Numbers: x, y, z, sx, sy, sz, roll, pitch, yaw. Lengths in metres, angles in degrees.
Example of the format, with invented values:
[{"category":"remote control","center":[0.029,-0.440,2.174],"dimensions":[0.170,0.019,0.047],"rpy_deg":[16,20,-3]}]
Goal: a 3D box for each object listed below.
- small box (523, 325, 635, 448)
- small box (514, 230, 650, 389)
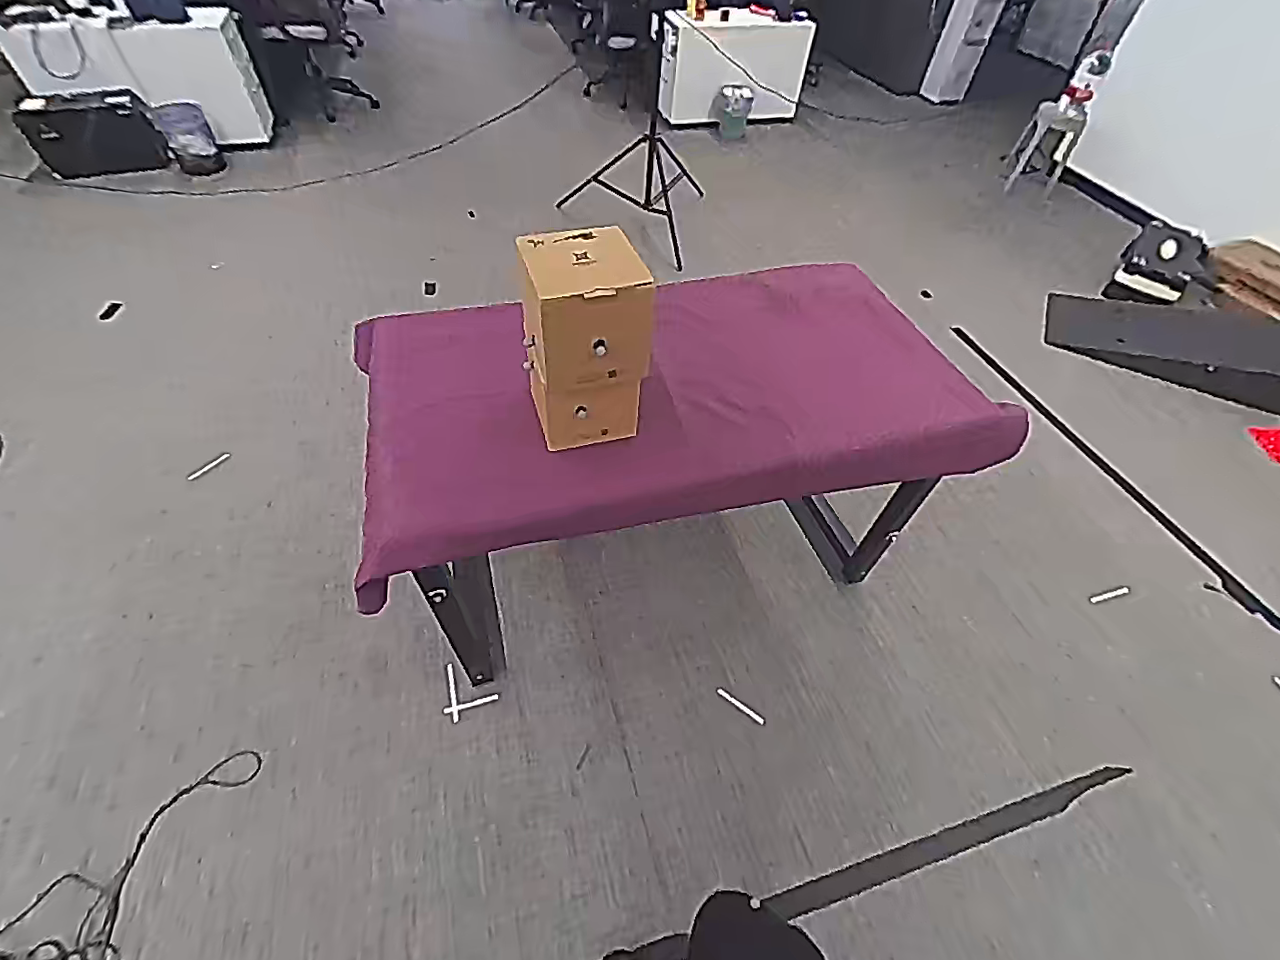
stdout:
[{"category":"small box","center":[-0.108,-0.175,0.985],"dimensions":[0.168,0.176,0.179],"rpy_deg":[-12,53,-13]},{"category":"small box","center":[-0.090,-0.258,0.842],"dimensions":[0.168,0.176,0.179],"rpy_deg":[-13,54,-14]}]
